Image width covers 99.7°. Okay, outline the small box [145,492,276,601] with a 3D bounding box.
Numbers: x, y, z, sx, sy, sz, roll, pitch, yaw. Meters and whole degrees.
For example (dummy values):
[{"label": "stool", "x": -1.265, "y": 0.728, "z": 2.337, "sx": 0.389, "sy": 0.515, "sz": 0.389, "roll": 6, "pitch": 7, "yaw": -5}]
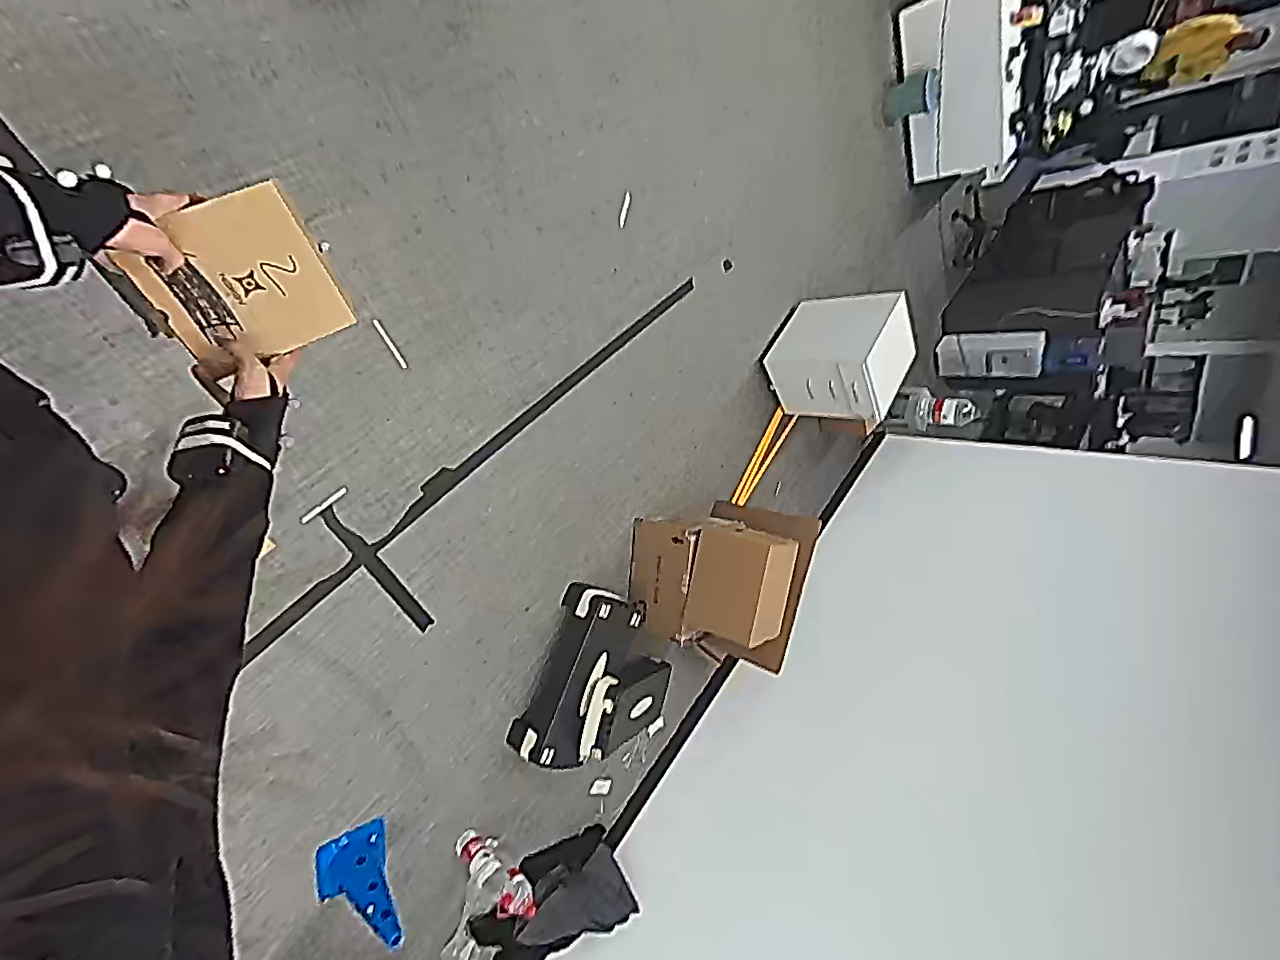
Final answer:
[{"label": "small box", "x": -1.010, "y": 0.148, "z": 1.273, "sx": 0.168, "sy": 0.176, "sz": 0.179, "roll": -49, "pitch": 128, "yaw": -27}]
